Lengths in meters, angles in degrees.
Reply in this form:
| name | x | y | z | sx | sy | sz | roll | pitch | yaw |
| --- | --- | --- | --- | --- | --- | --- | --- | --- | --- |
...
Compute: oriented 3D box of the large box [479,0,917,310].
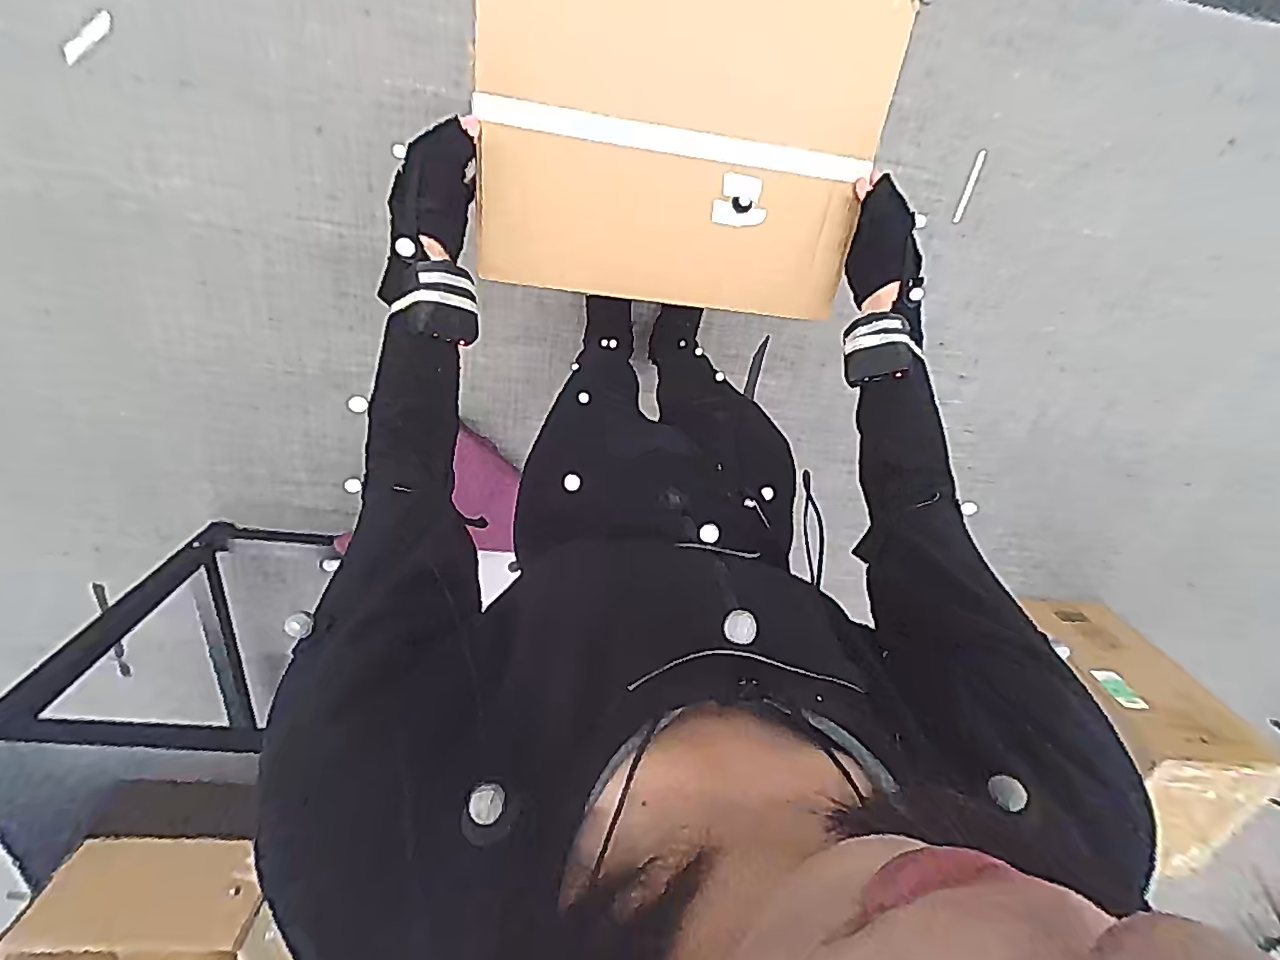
| name | x | y | z | sx | sy | sz | roll | pitch | yaw |
| --- | --- | --- | --- | --- | --- | --- | --- | --- | --- |
| large box | 0.027 | -0.411 | 0.660 | 0.408 | 0.320 | 0.320 | 3 | 119 | -11 |
